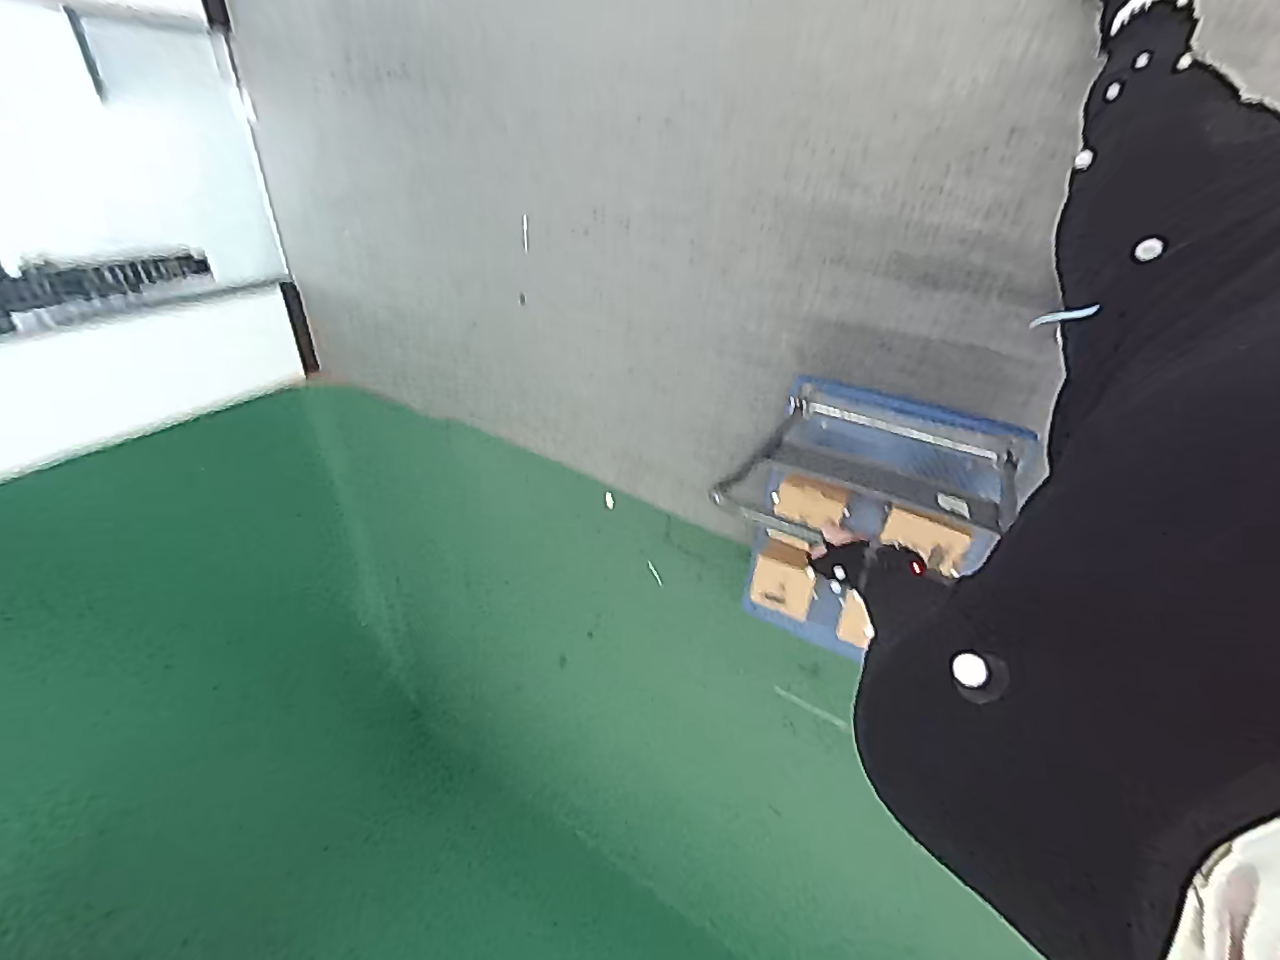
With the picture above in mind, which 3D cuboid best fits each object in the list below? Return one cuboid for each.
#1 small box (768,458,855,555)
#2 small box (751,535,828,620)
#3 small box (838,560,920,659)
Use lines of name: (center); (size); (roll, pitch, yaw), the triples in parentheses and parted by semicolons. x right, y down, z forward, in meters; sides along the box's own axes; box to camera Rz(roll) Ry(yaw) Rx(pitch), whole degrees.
small box: (0.470, 0.067, 1.472); (0.168, 0.176, 0.179); (21, 125, 22)
small box: (0.448, 0.275, 1.606); (0.168, 0.176, 0.179); (18, 124, 23)
small box: (0.669, 0.353, 1.507); (0.168, 0.176, 0.179); (17, 124, 26)
